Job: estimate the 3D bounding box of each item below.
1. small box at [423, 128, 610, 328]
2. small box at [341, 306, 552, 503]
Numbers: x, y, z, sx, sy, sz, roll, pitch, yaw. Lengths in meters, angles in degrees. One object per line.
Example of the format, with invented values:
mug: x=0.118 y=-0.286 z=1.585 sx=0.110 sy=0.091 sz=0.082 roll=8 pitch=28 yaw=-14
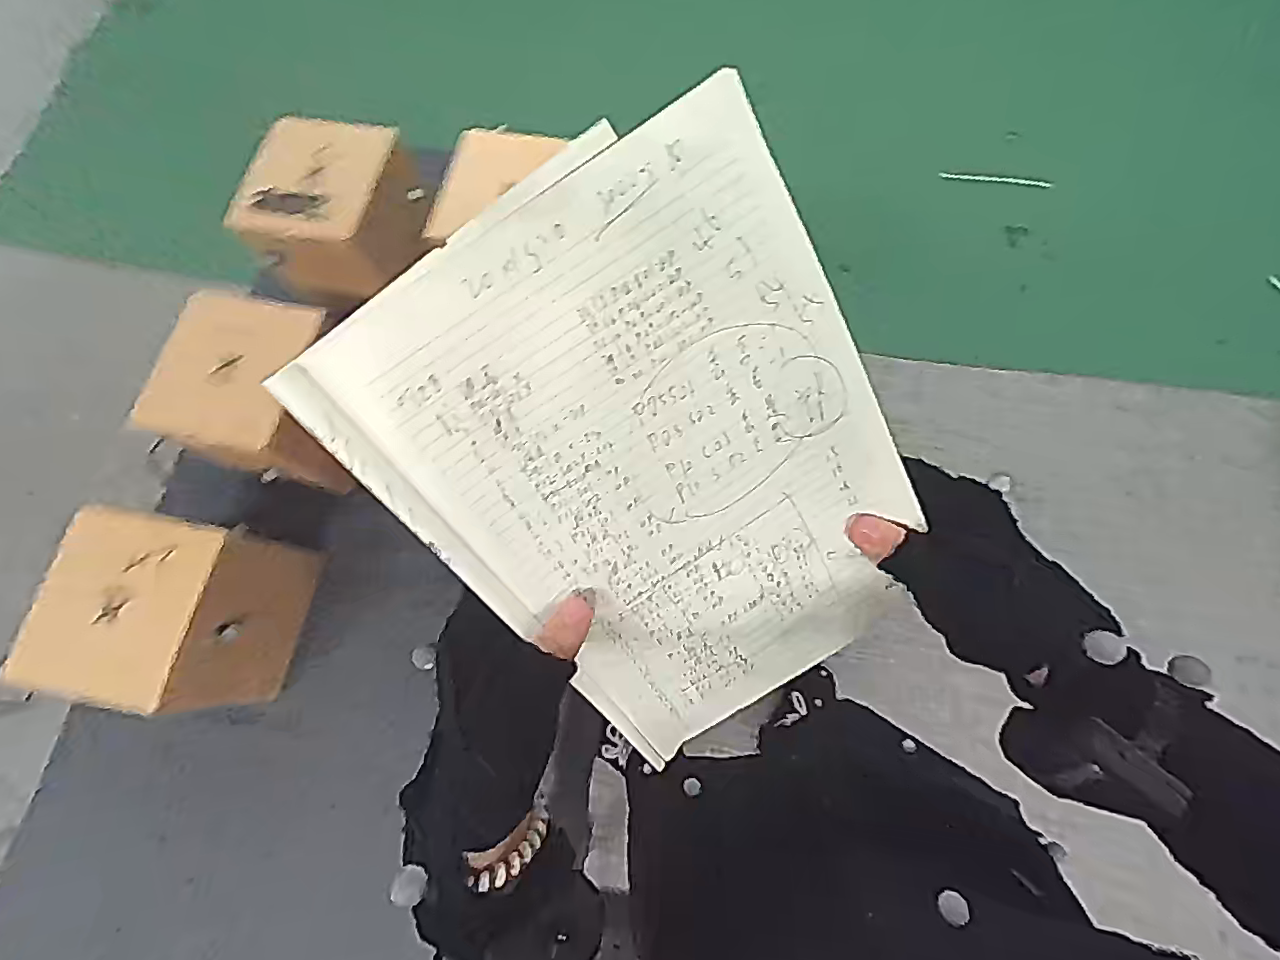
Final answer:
small box: x=-0.148 y=-0.323 z=0.717 sx=0.179 sy=0.176 sz=0.168 roll=11 pitch=74 yaw=7
small box: x=-0.210 y=-0.079 z=0.642 sx=0.168 sy=0.176 sz=0.179 roll=5 pitch=72 yaw=5
